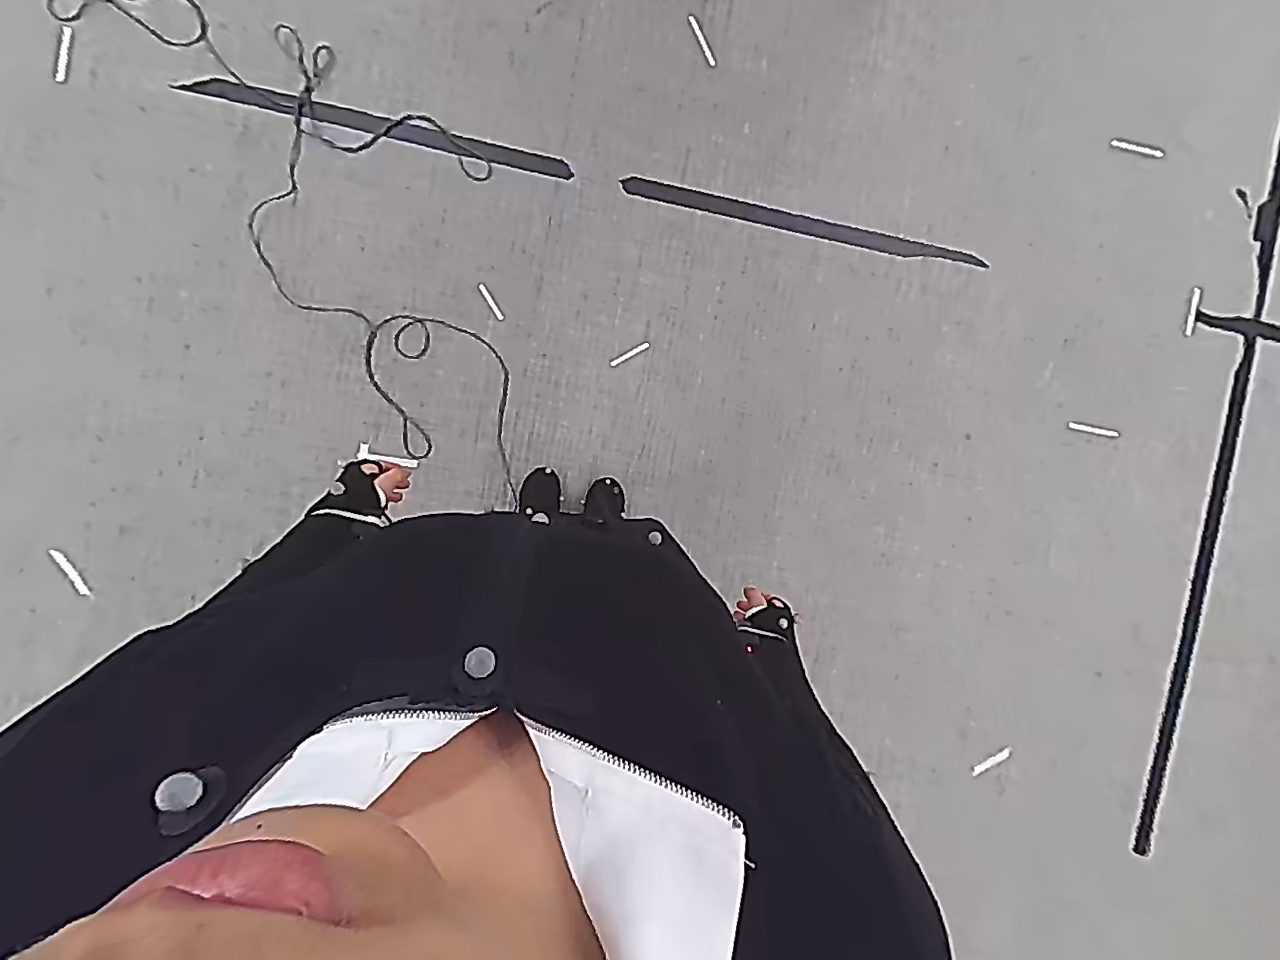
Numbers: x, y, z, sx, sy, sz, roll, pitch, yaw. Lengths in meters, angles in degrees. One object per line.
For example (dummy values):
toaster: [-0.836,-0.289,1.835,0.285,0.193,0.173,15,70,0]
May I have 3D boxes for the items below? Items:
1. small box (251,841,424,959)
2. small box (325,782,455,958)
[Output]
small box: [-0.424,0.655,0.769,0.168,0.176,0.179,9,89,-3]
small box: [-0.430,0.661,0.933,0.168,0.176,0.179,8,89,-4]
